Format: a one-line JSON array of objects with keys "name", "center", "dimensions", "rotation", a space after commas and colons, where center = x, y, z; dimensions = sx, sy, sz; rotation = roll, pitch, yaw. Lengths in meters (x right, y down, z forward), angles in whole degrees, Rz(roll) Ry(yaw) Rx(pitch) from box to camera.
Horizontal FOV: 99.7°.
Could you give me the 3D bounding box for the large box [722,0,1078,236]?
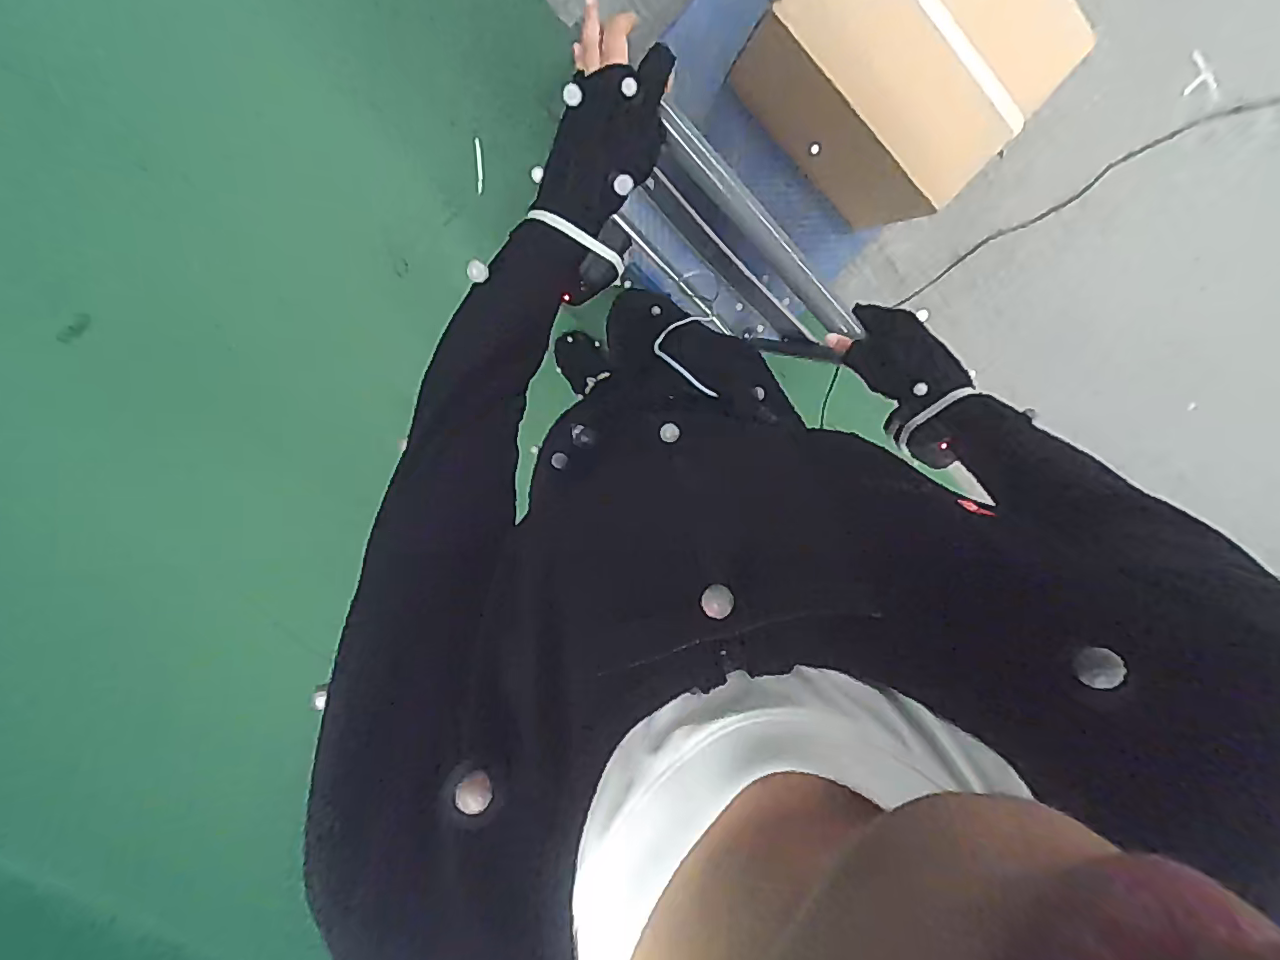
[{"name": "large box", "center": [0.411, -0.699, 0.942], "dimensions": [0.408, 0.320, 0.320], "rotation": [40, 102, -14]}]
